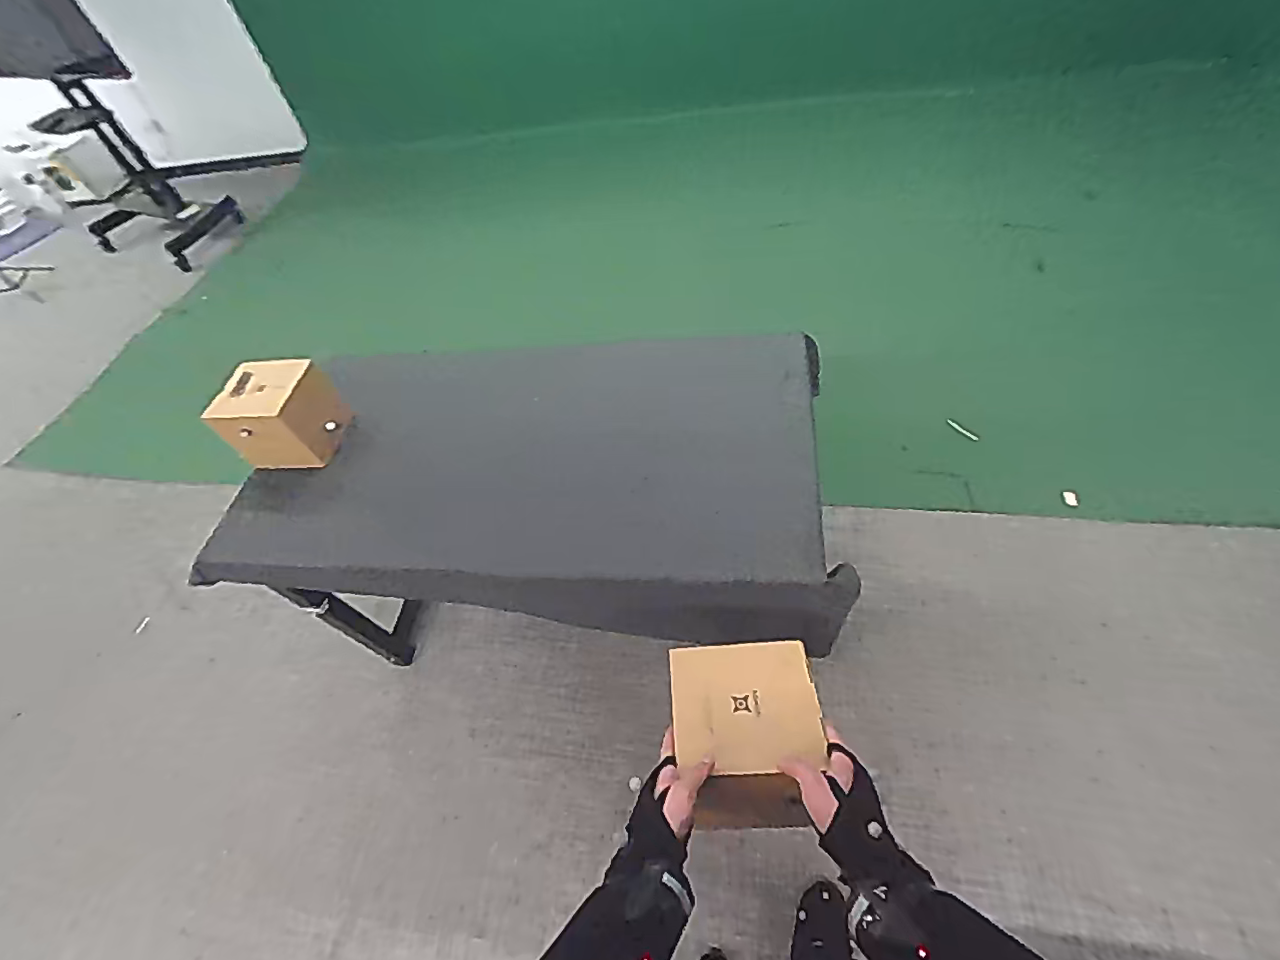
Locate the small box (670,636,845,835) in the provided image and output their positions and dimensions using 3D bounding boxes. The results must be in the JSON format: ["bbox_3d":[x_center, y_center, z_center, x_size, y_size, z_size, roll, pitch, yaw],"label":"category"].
[{"bbox_3d":[0.135,0.321,0.681,0.179,0.176,0.168,-7,38,2],"label":"small box"}]

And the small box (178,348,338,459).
[{"bbox_3d":[-0.783,-0.156,1.130,0.179,0.176,0.168,1,53,7],"label":"small box"}]
